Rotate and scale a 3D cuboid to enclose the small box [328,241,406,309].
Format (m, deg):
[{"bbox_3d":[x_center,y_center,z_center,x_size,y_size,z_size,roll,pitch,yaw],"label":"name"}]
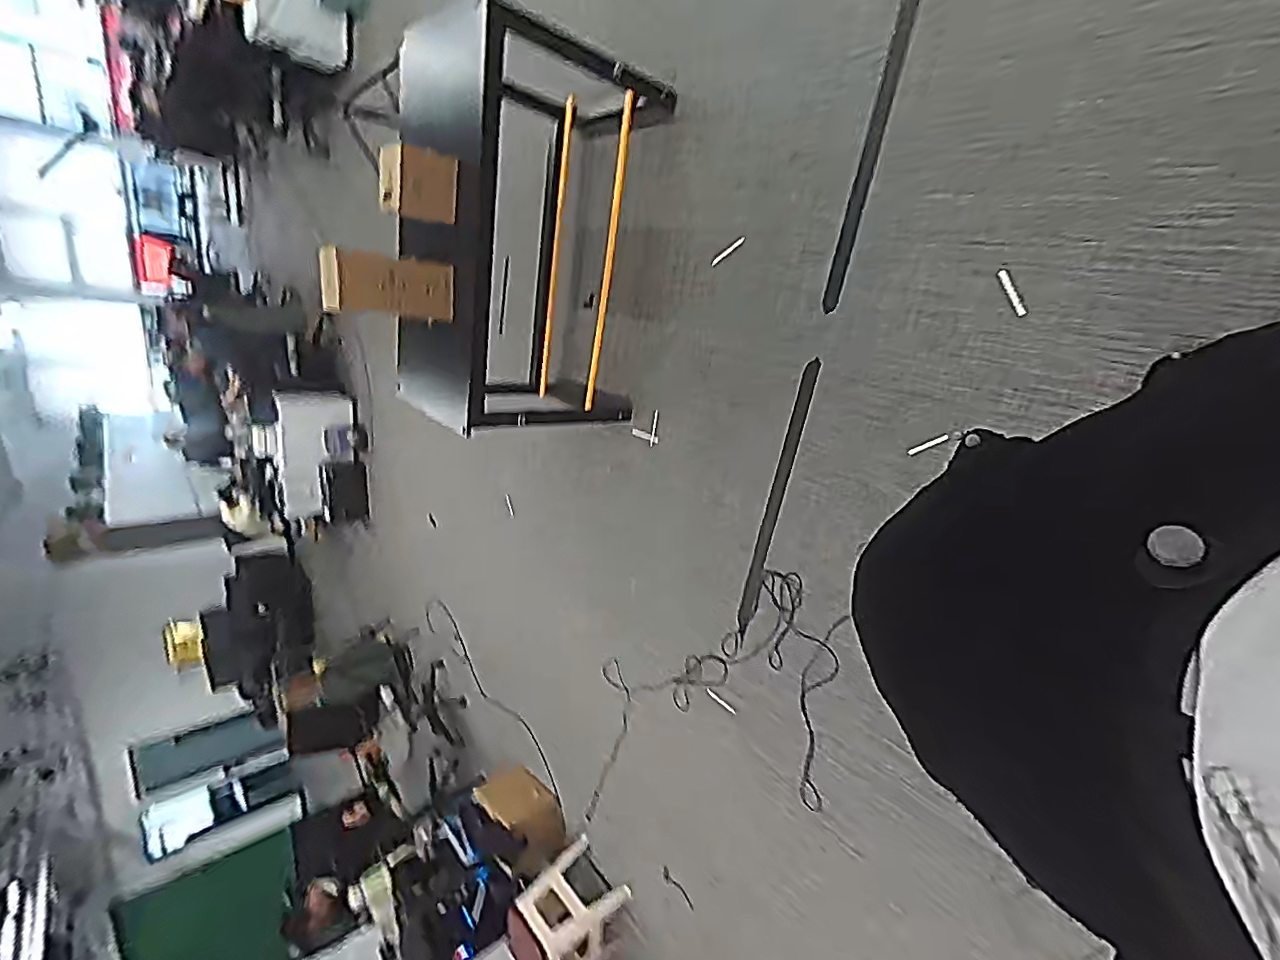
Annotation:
[{"bbox_3d":[-0.810,-0.604,1.608,0.179,0.176,0.168,20,111,44],"label":"small box"}]

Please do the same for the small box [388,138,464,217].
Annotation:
[{"bbox_3d":[-0.642,-0.900,1.623,0.168,0.176,0.179,29,116,41],"label":"small box"}]

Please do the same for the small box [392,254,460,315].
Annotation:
[{"bbox_3d":[-0.686,-0.620,1.717,0.179,0.176,0.168,22,112,43],"label":"small box"}]
